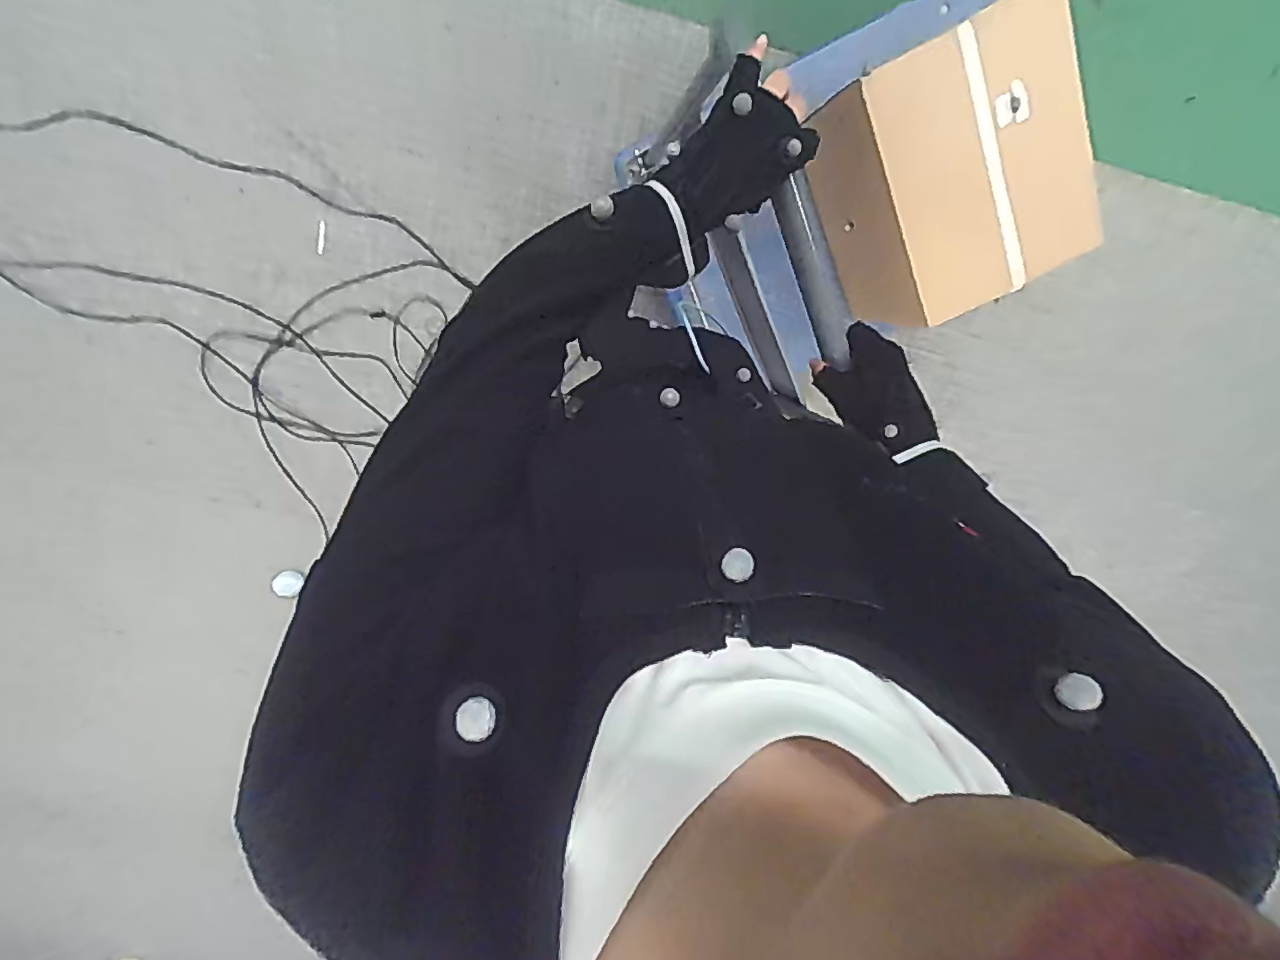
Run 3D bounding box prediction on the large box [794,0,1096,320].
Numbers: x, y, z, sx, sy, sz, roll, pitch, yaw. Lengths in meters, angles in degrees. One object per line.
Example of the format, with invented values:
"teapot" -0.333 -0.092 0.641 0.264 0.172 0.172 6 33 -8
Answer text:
"large box" 0.537 -0.555 1.001 0.320 0.320 0.408 -26 109 5
